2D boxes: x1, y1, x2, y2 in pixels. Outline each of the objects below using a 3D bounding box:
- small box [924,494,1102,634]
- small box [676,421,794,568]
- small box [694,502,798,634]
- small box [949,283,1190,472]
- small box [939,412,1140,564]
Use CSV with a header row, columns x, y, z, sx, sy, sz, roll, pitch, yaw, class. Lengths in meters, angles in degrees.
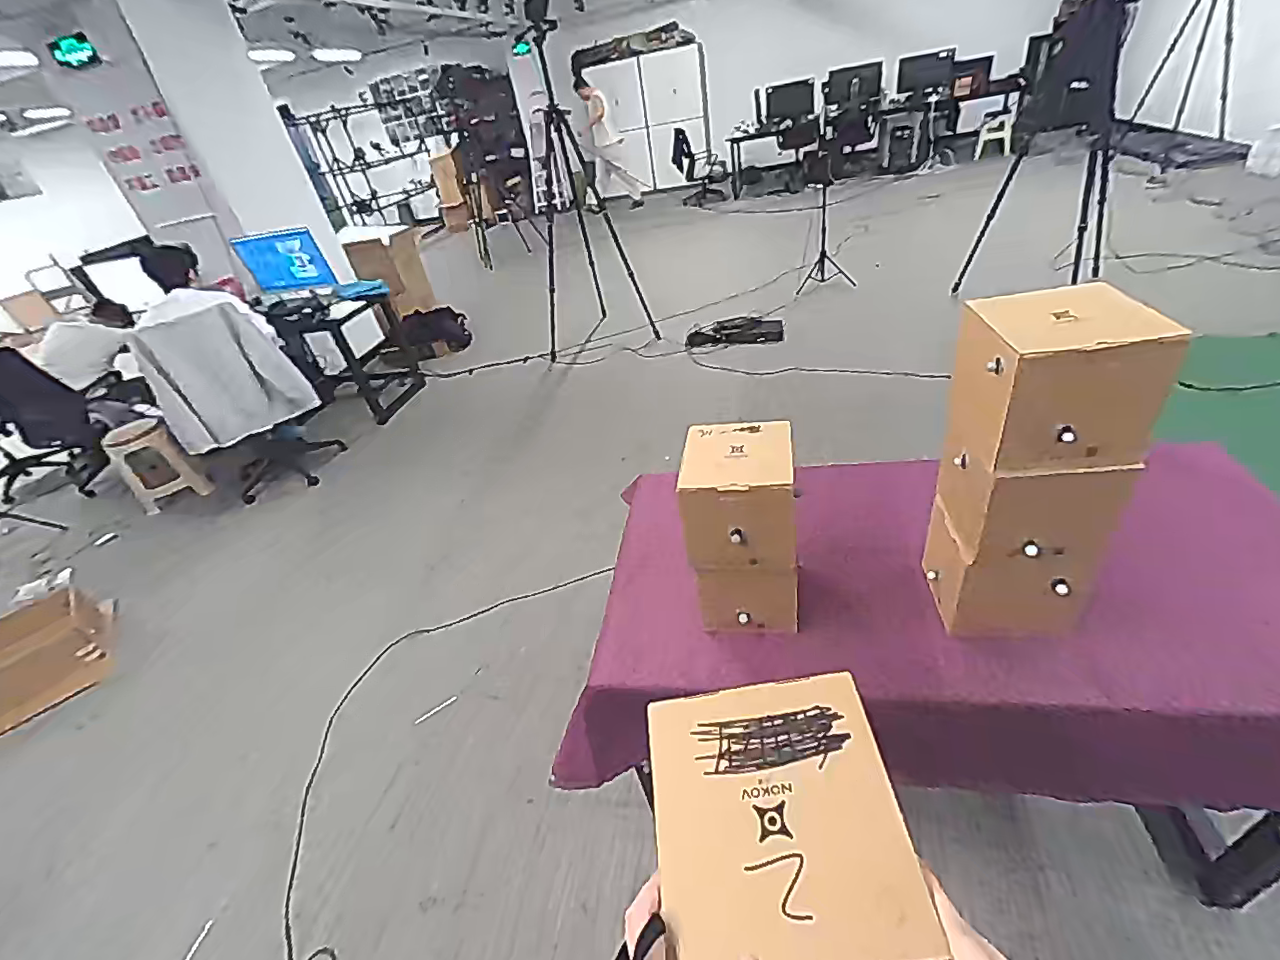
x,y,z,sx,sy,sz,roll,pitch,yaw,class
0.582,0.133,0.873,0.179,0.176,0.168,-4,36,13,small box
0.160,0.026,0.870,0.168,0.176,0.179,-1,38,15,small box
0.195,0.151,0.970,0.168,0.176,0.179,-2,38,15,small box
0.519,-0.131,0.692,0.168,0.176,0.179,-6,37,11,small box
0.551,0.002,0.780,0.168,0.176,0.179,-5,37,13,small box
